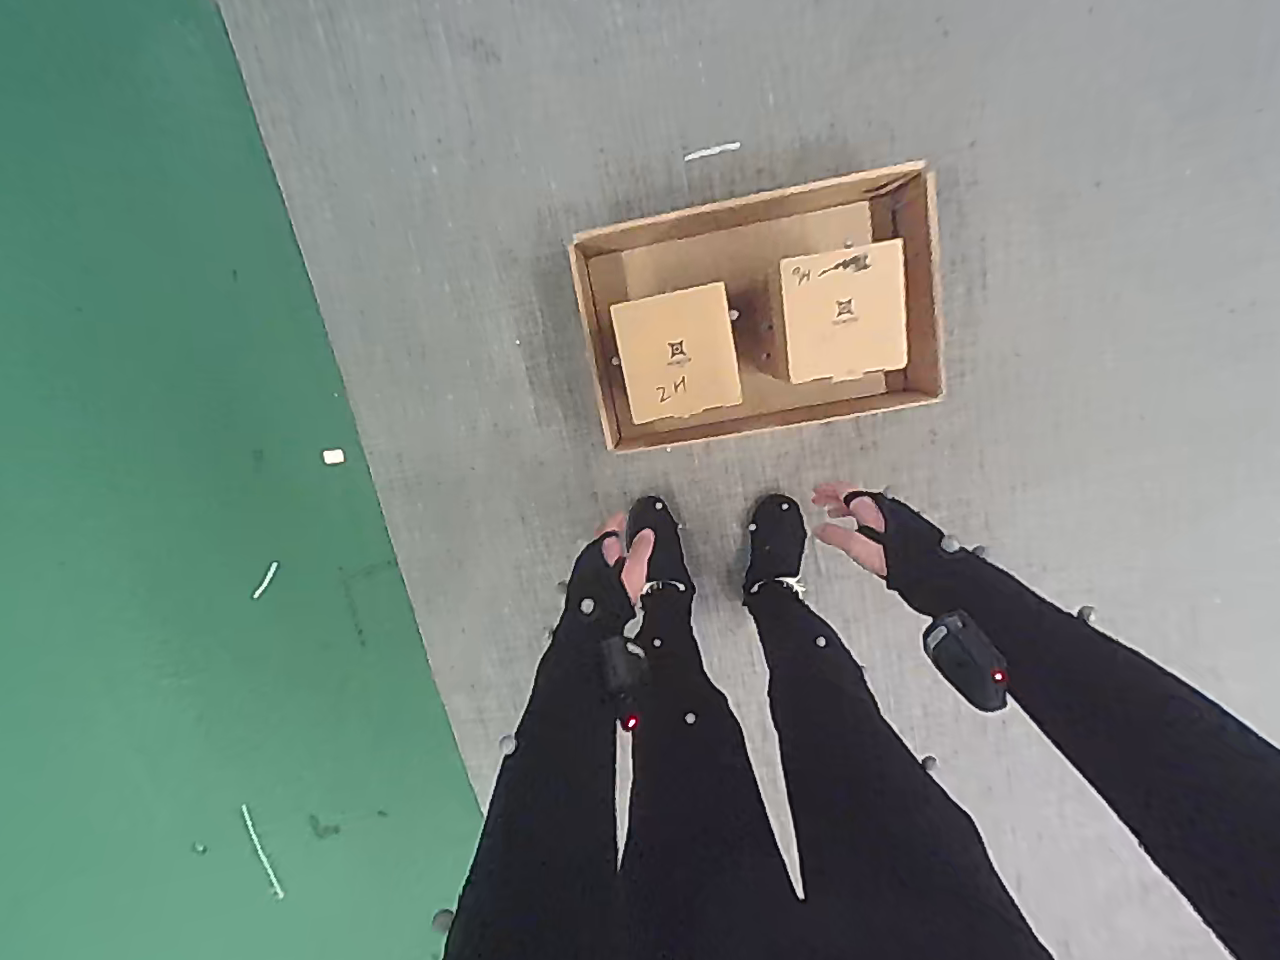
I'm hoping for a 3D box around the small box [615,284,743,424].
[{"bbox_3d":[0.060,-0.194,0.856,0.168,0.176,0.179,-10,102,5],"label":"small box"}]
